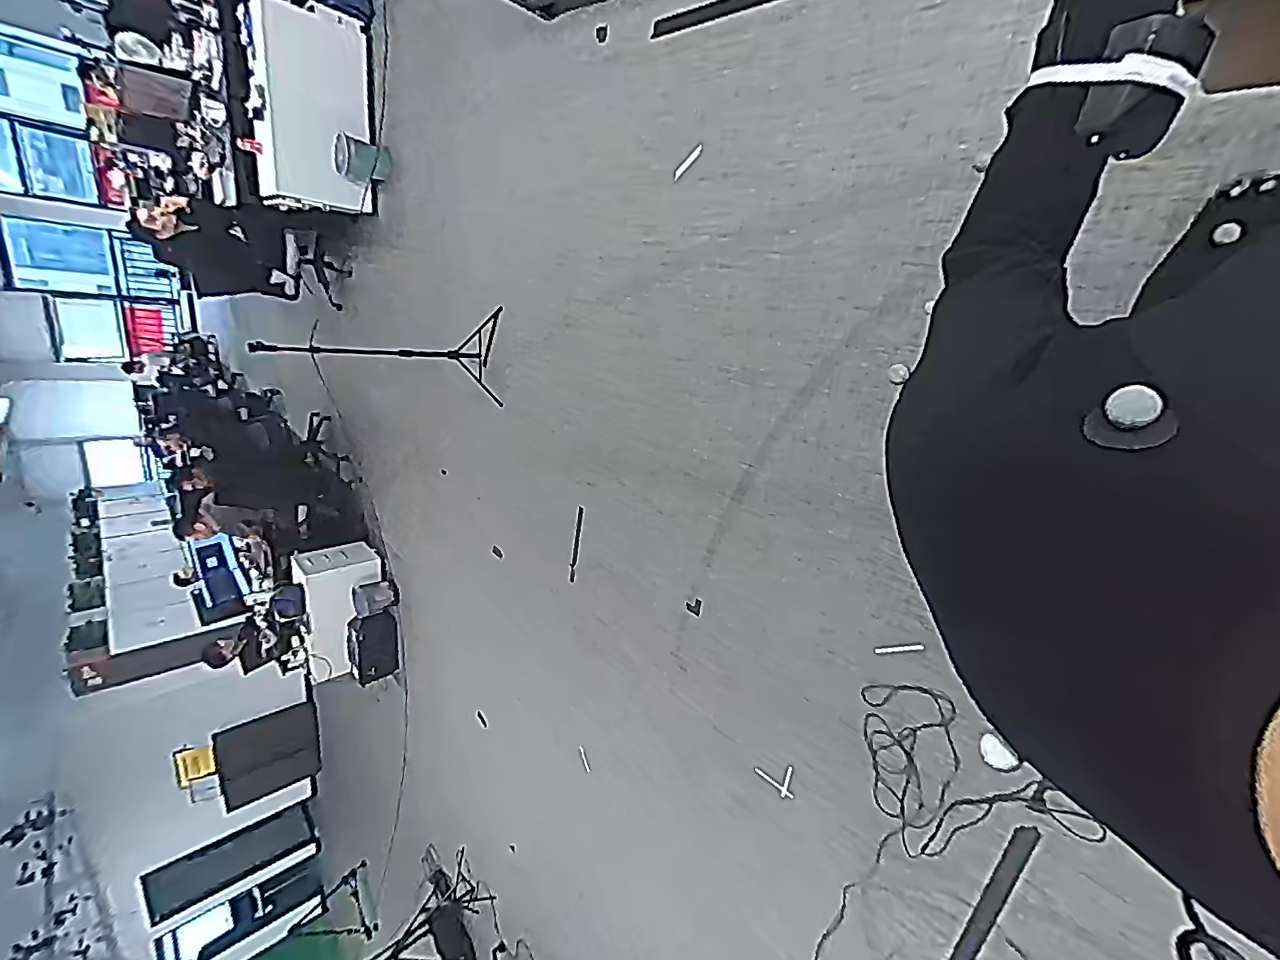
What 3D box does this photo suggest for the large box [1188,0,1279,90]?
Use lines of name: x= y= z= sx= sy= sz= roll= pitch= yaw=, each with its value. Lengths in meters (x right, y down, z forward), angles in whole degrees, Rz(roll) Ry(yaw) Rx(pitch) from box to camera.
large box: x=0.582 y=-0.430 z=0.251 sx=0.408 sy=0.320 sz=0.320 roll=21 pitch=122 yaw=41
